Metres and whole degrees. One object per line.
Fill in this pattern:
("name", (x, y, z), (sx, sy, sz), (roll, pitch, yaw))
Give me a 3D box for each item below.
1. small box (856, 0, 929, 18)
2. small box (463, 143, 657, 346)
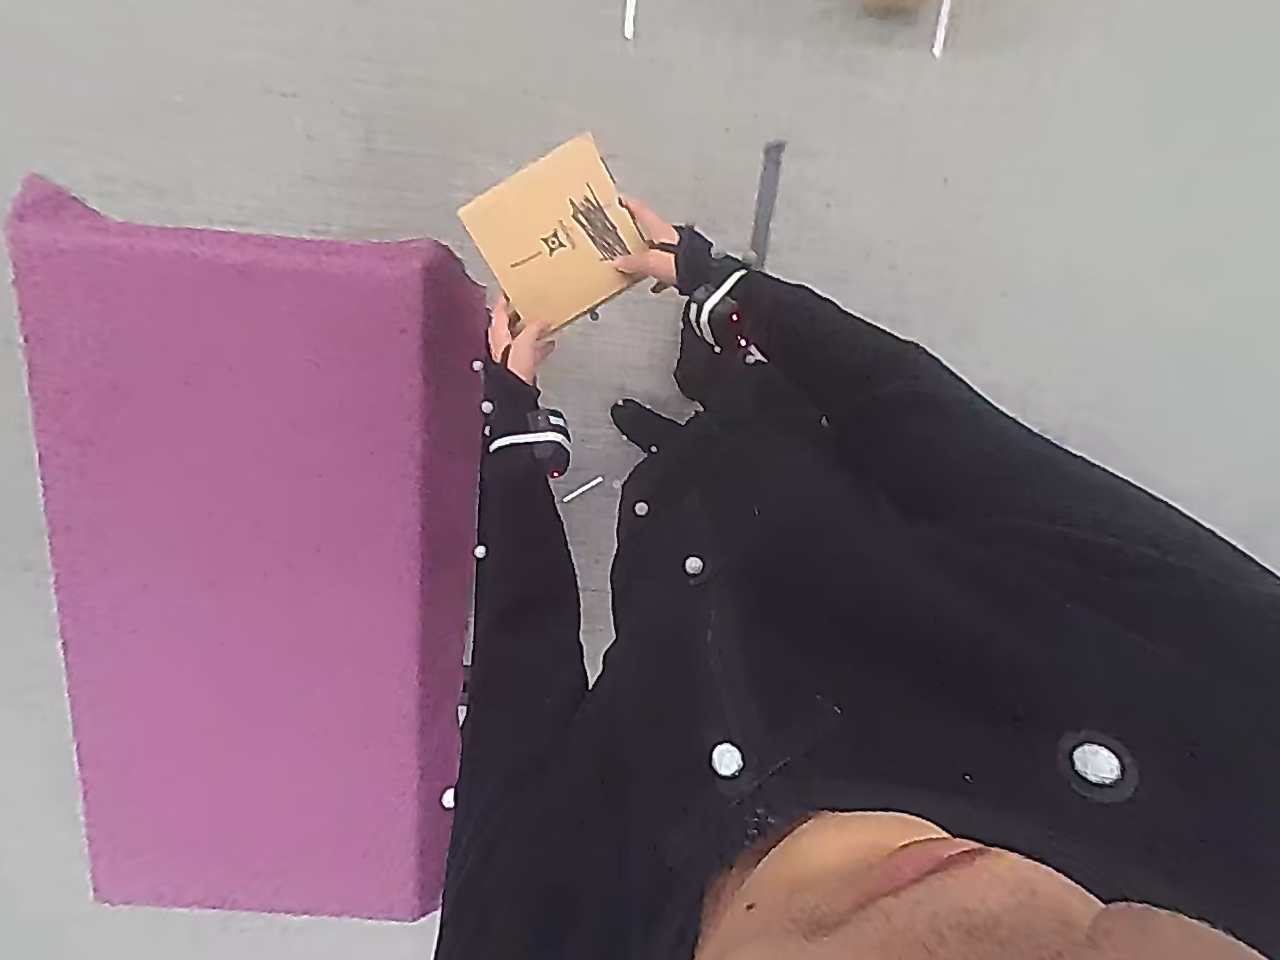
("small box", (0.633, -1.257, 1.287), (0.168, 0.176, 0.179), (2, 102, -1))
("small box", (-0.097, -0.294, 0.708), (0.179, 0.176, 0.168), (-29, 106, 5))
